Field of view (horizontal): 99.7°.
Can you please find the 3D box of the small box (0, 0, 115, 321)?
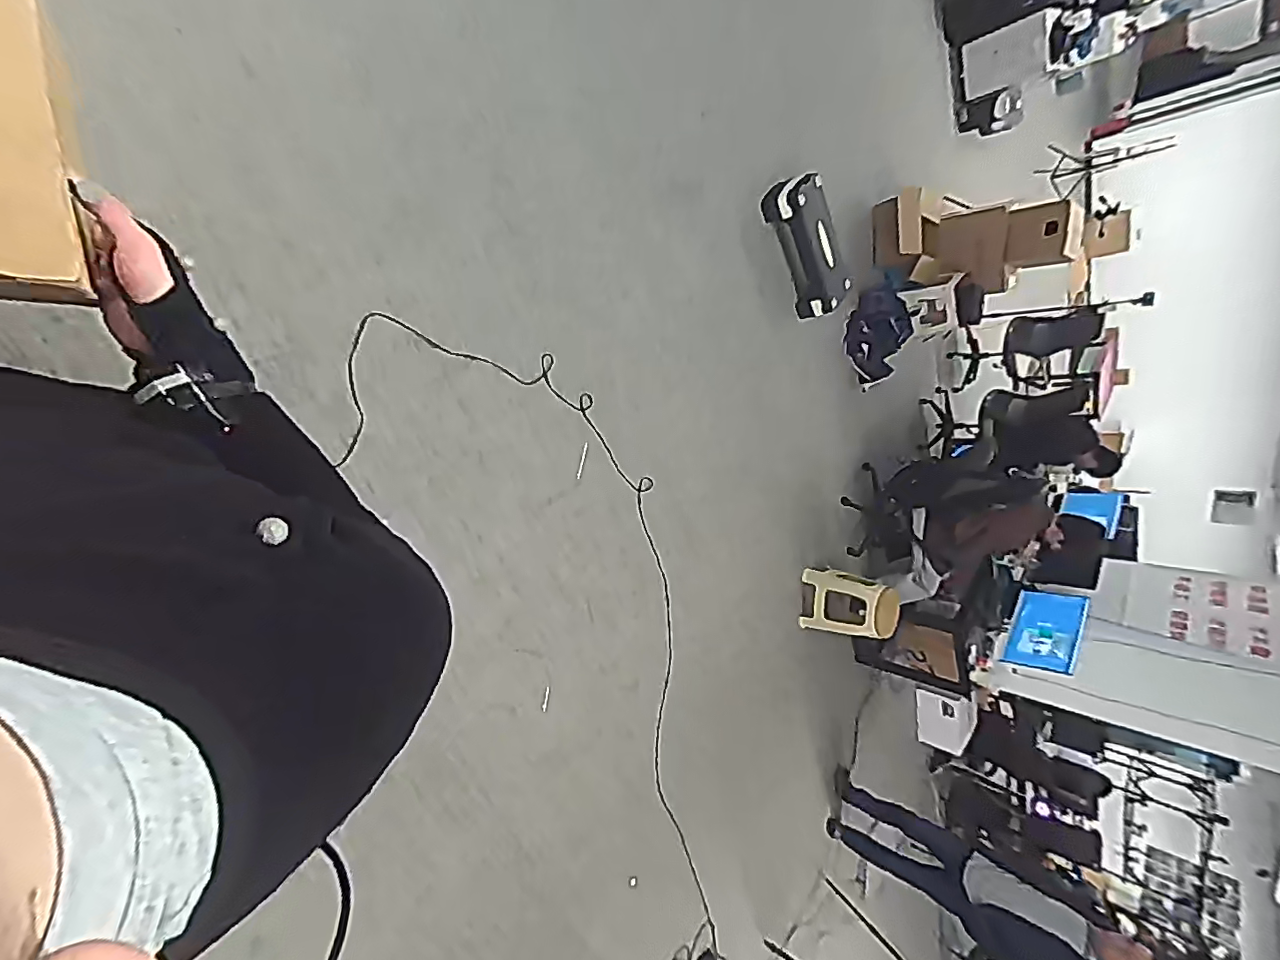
[{"bbox_3d":[-0.455,-0.198,0.336,0.168,0.176,0.179,-9,104,-41],"label":"small box"}]
